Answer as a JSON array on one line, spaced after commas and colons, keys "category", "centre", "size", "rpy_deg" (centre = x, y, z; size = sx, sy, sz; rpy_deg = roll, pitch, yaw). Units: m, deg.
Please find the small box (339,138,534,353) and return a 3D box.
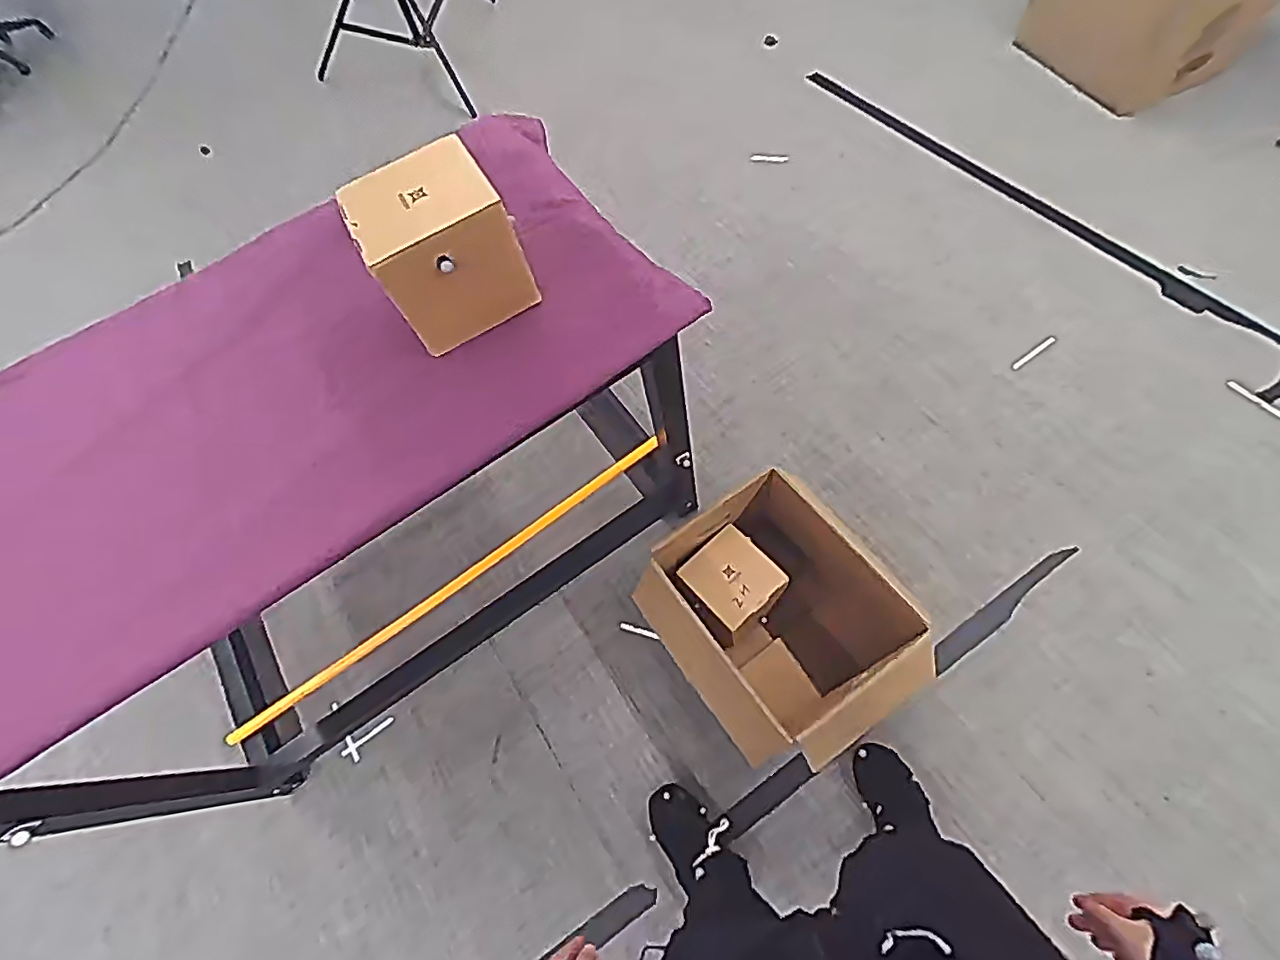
[{"category": "small box", "centre": [-0.262, -0.311, 0.737], "size": [0.179, 0.176, 0.168], "rpy_deg": [-30, 64, -5]}]
